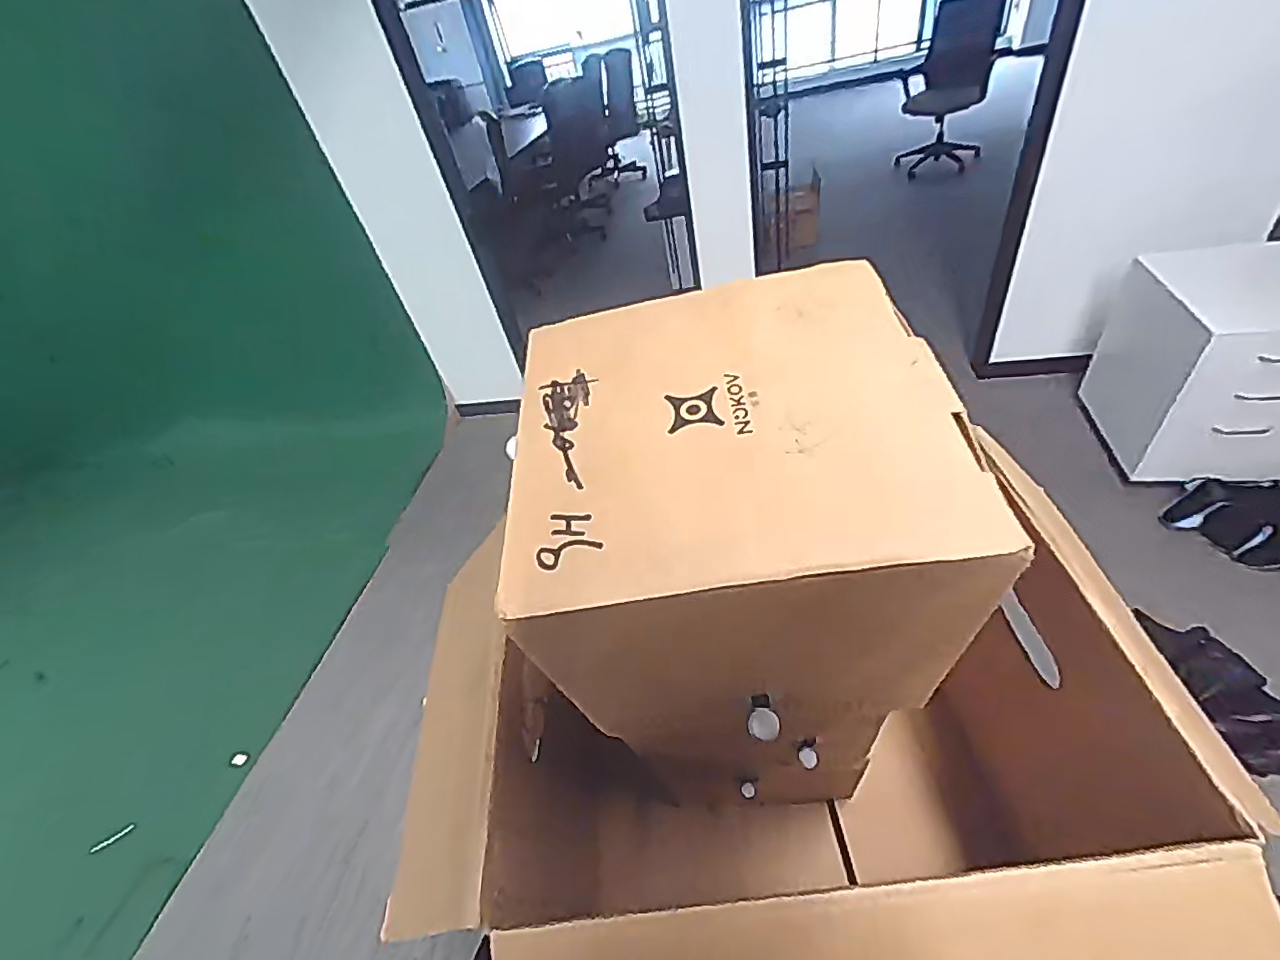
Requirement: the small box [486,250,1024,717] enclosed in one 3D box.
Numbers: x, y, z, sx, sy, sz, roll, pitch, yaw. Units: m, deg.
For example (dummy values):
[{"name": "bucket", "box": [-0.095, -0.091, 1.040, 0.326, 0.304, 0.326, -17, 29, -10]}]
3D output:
[{"name": "small box", "box": [0.043, 0.013, 0.283, 0.179, 0.176, 0.168, -8, 51, 6]}]
